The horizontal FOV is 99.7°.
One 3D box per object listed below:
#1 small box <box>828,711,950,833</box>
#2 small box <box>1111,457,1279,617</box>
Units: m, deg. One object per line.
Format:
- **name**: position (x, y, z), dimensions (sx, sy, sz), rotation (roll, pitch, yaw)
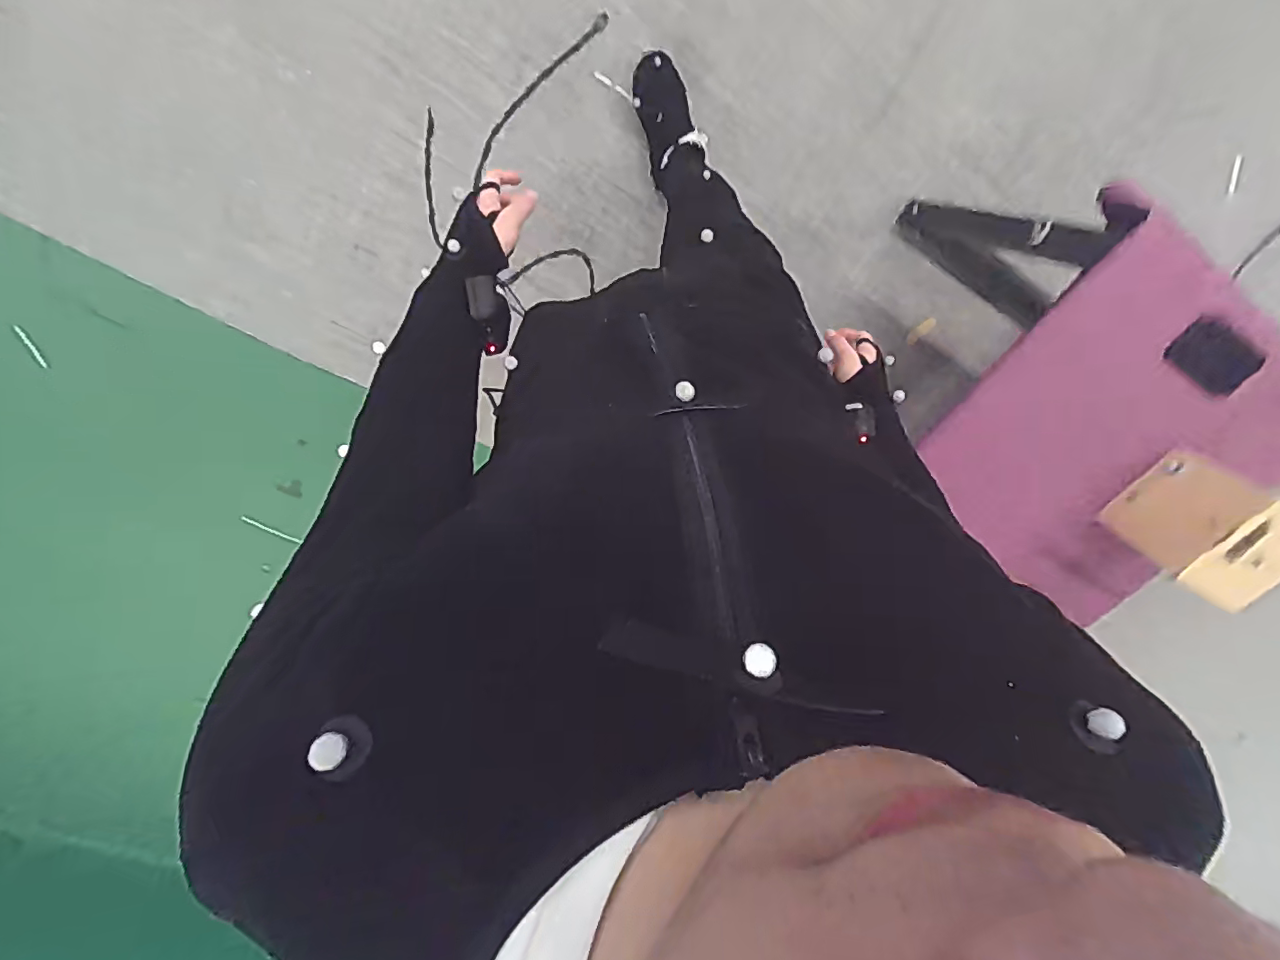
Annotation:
- **small box**: position (0.543, 0.655, 1.221), dimensions (0.179, 0.176, 0.168), rotation (28, 116, -17)
- **small box**: position (0.945, 0.085, 0.886), dimensions (0.179, 0.176, 0.168), rotation (26, 117, -16)
